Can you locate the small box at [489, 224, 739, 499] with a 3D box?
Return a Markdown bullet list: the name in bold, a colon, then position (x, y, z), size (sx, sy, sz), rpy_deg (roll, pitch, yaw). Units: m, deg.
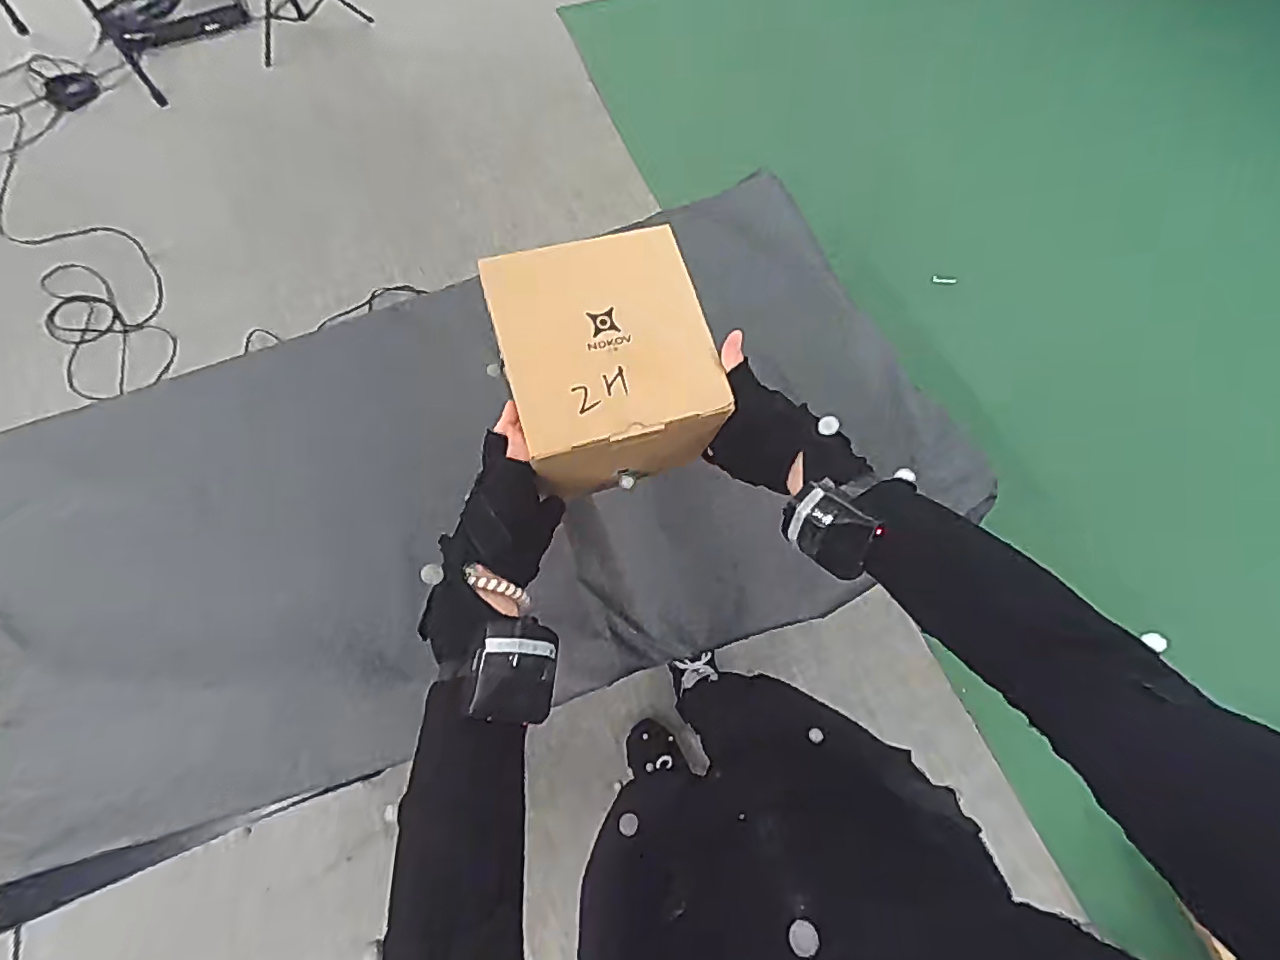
- **small box**: position (-0.032, -0.098, 0.504), size (0.168, 0.176, 0.179), rpy_deg (-15, 78, -10)
